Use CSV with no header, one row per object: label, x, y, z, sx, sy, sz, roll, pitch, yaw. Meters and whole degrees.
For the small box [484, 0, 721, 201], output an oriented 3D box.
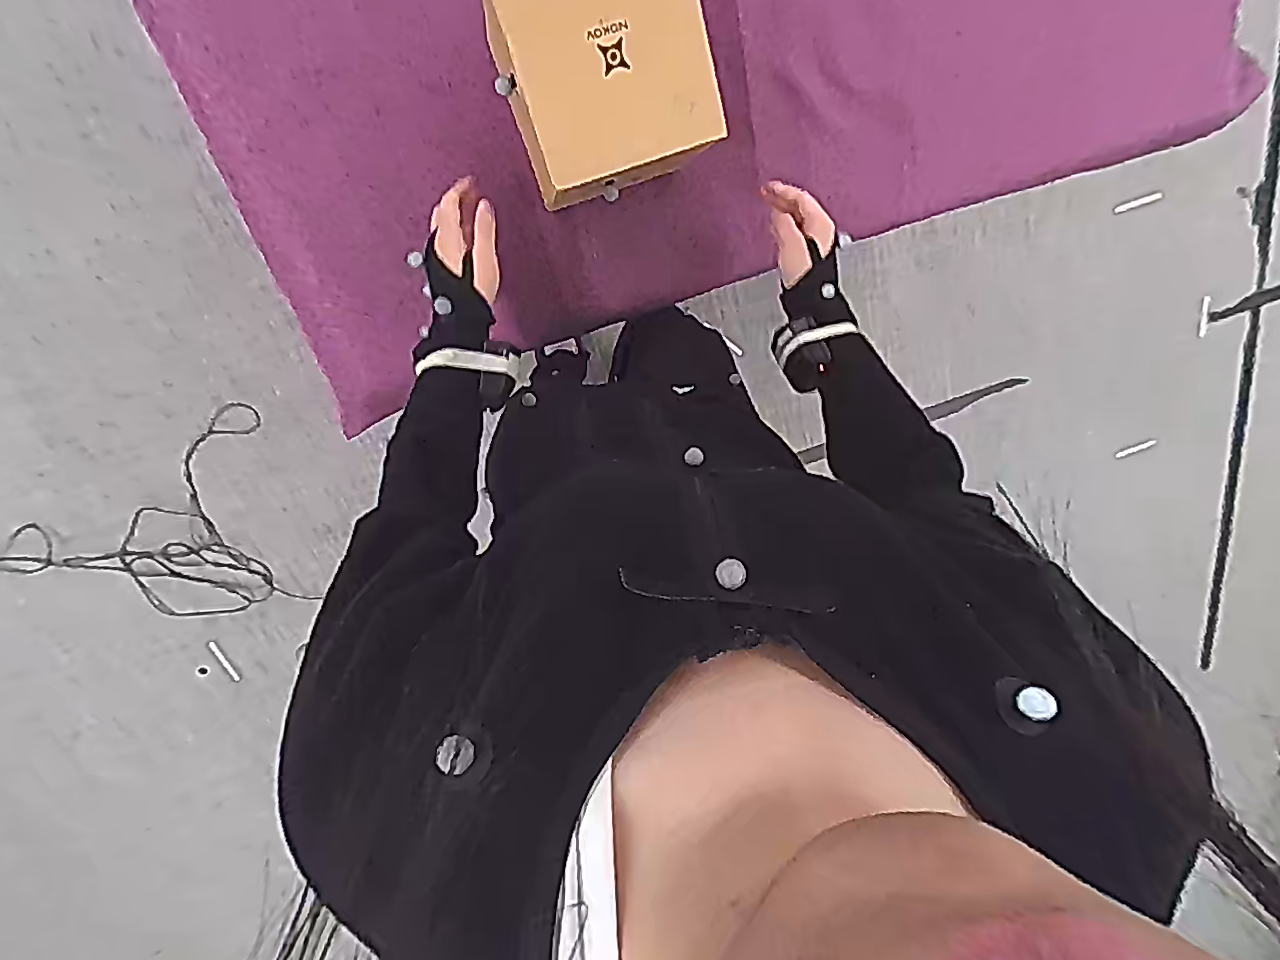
small box,-0.040,-0.388,0.523,0.168,0.176,0.179,-20,113,-3
